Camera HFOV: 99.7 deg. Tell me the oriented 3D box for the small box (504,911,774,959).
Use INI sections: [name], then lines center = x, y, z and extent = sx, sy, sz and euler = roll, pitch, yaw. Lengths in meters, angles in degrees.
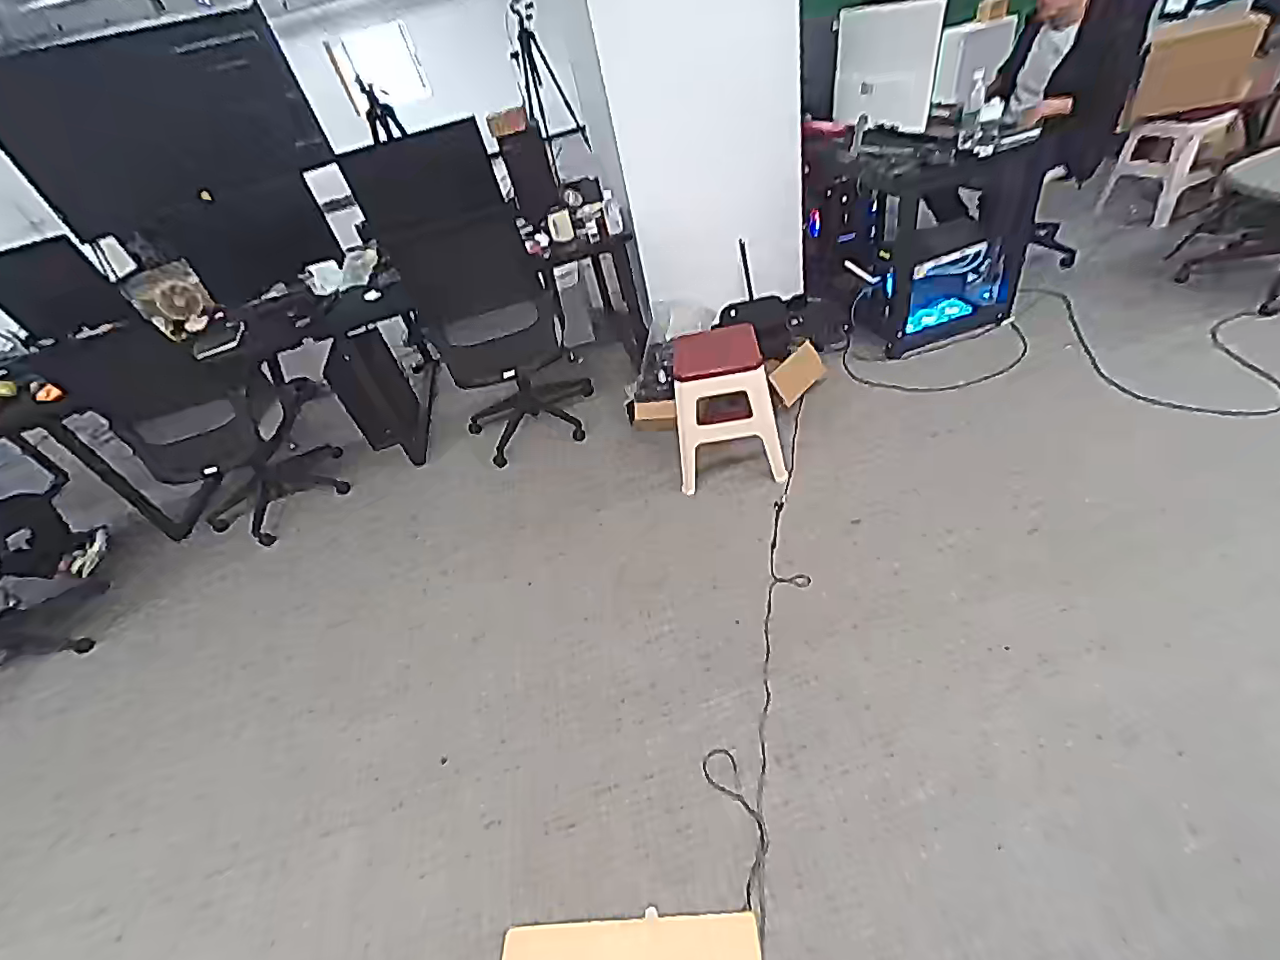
[small box]
center = 0.009, 0.404, 0.348
extent = 0.179, 0.176, 0.168
euler = -8, 38, 5
